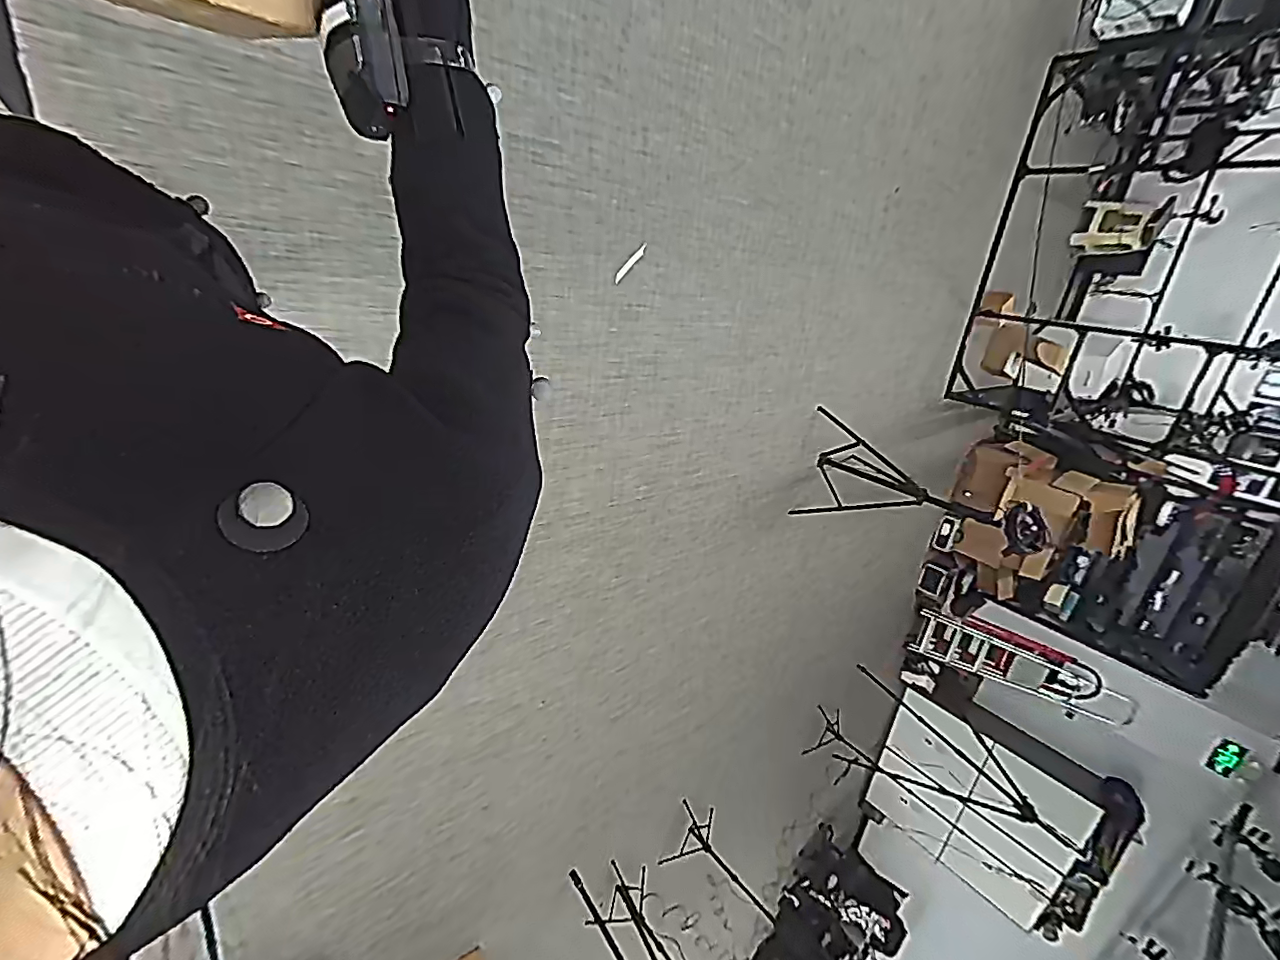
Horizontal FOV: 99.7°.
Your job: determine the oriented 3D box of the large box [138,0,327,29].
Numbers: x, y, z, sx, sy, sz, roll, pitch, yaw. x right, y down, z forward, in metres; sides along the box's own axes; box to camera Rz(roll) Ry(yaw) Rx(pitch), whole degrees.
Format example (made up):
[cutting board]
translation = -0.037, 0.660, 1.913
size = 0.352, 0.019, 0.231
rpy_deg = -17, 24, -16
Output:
[large box]
translation = -0.414, -0.462, 0.244
size = 0.408, 0.320, 0.320
rpy_deg = -12, 129, -39
